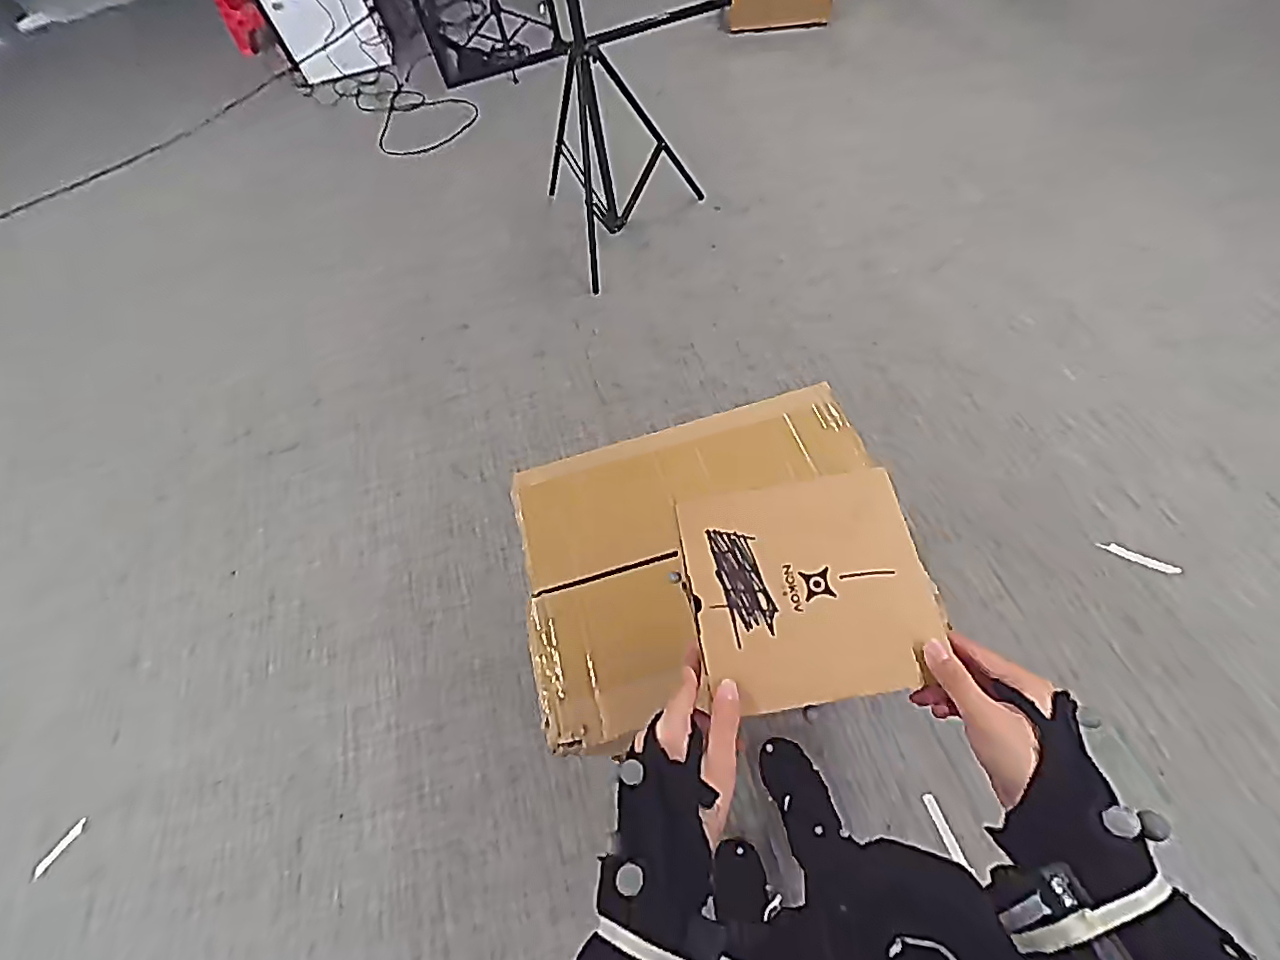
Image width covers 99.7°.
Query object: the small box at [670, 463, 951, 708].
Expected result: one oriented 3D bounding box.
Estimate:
[{"bbox_3d":[0.128,0.105,0.481,0.179,0.176,0.168,-10,67,1],"label":"small box"}]
